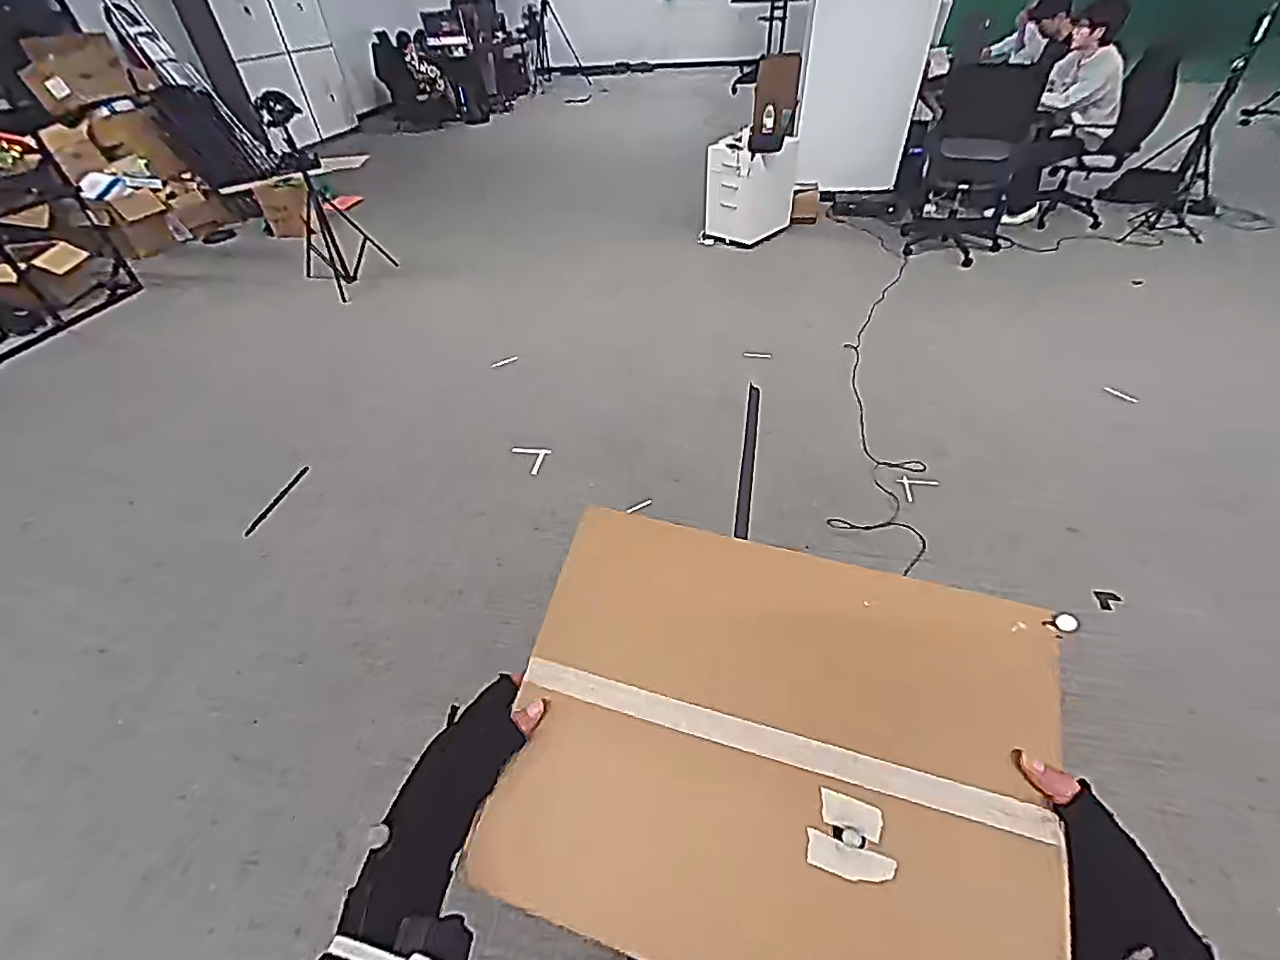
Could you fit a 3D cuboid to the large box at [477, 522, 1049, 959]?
[{"bbox_3d":[0.115,0.273,0.563,0.408,0.320,0.320,11,67,12],"label":"large box"}]
